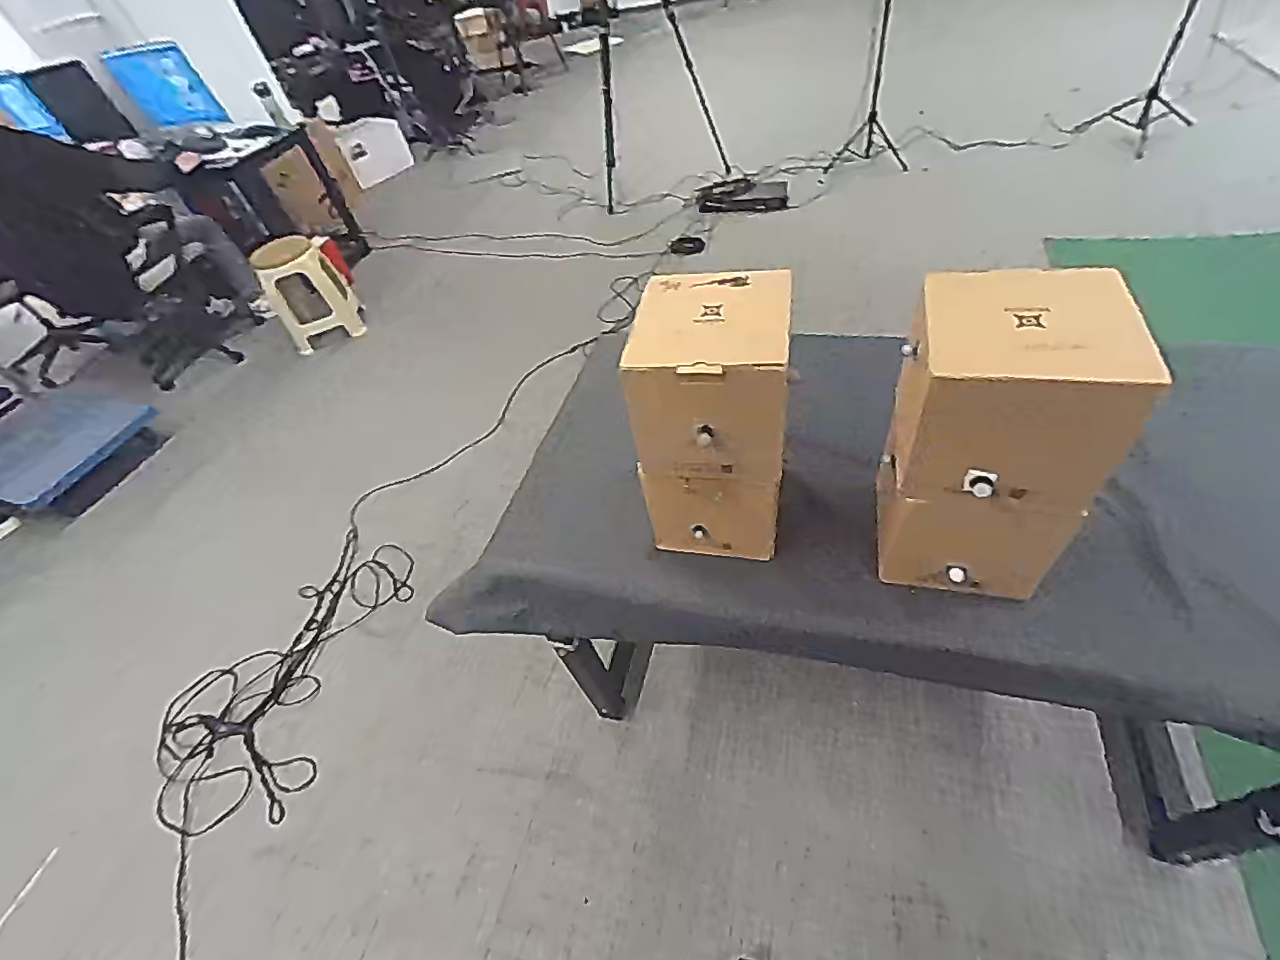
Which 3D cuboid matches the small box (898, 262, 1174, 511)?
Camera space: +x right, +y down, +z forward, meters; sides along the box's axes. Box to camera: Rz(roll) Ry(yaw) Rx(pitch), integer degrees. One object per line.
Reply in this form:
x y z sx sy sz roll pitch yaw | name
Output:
0.359 -0.094 0.536 0.168 0.176 0.179 5 51 19 | small box

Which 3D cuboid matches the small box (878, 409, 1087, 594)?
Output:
0.389 0.012 0.655 0.168 0.176 0.179 5 51 17 | small box

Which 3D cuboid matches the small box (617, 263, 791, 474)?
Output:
0.085 -0.123 0.625 0.168 0.176 0.179 3 51 14 | small box

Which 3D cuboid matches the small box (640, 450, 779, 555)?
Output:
0.107 -0.020 0.750 0.168 0.176 0.179 4 51 15 | small box
